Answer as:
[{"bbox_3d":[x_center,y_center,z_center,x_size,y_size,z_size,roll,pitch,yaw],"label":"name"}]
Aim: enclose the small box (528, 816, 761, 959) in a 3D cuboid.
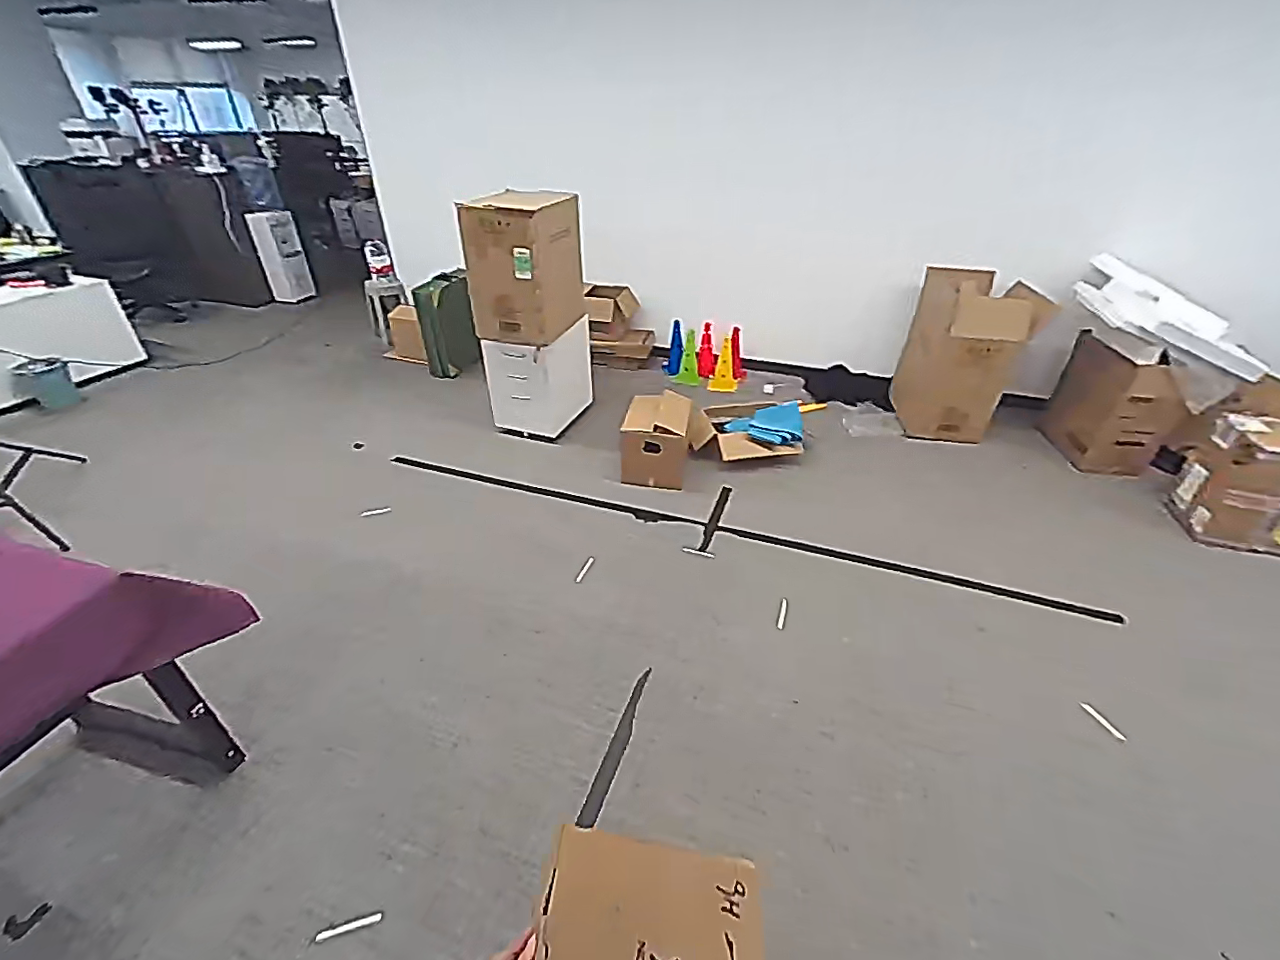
[{"bbox_3d":[-0.007,0.414,0.460,0.179,0.176,0.168,13,44,-3],"label":"small box"}]
